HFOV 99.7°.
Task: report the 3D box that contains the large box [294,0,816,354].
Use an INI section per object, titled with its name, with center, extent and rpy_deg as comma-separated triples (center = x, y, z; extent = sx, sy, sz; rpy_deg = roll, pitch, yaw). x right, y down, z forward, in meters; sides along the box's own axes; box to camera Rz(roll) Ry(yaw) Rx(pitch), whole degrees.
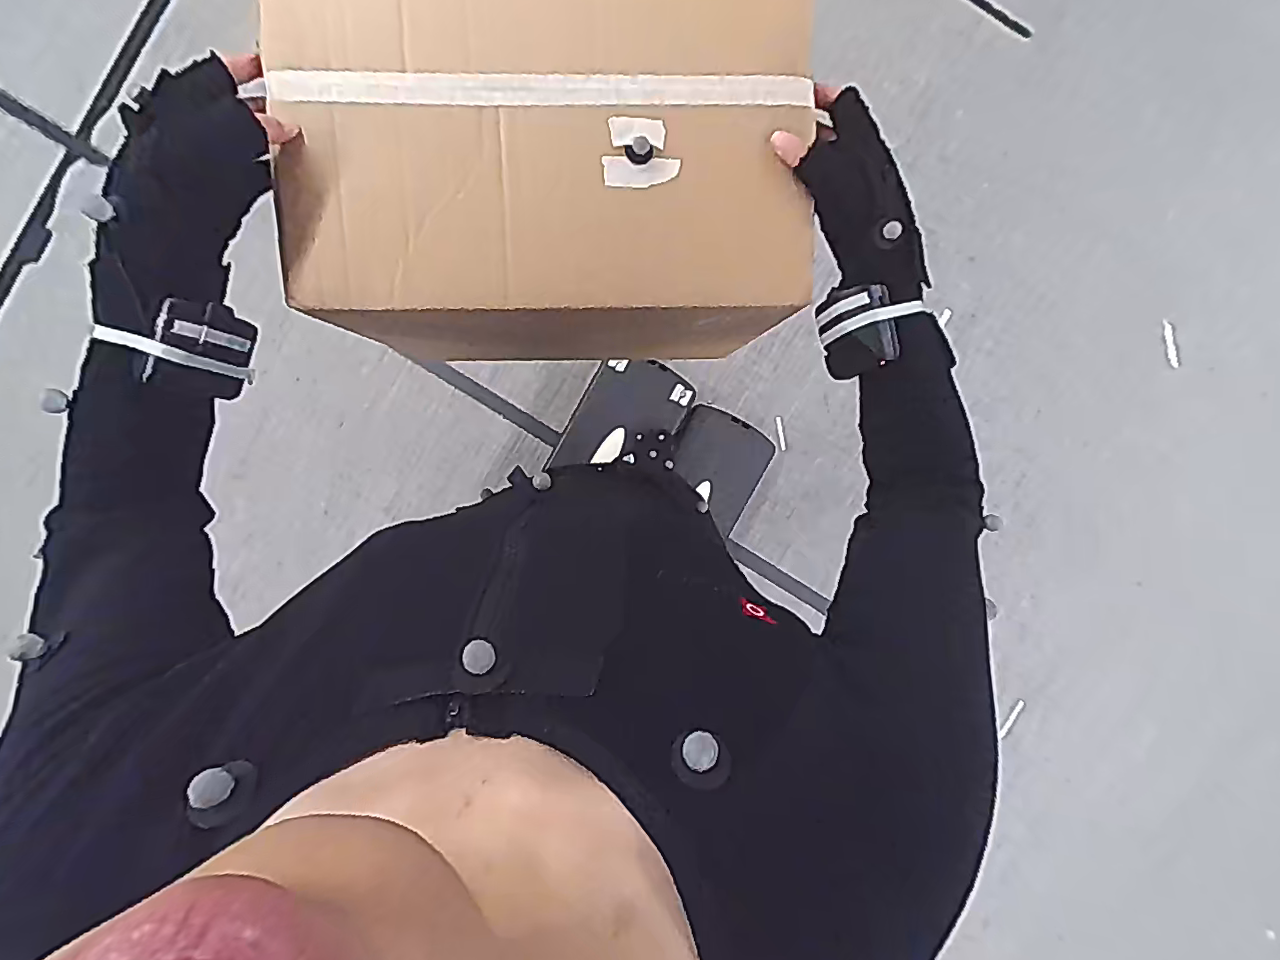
[large box]
center = -0.070, -0.313, 0.566
extent = 0.408, 0.320, 0.320
rpy_deg = -1, 96, -4

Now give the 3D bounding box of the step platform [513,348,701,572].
[step platform]
center = -0.096, -0.080, 1.573
extent = 0.286, 0.204, 0.684
rpy_deg = 29, 90, -4
